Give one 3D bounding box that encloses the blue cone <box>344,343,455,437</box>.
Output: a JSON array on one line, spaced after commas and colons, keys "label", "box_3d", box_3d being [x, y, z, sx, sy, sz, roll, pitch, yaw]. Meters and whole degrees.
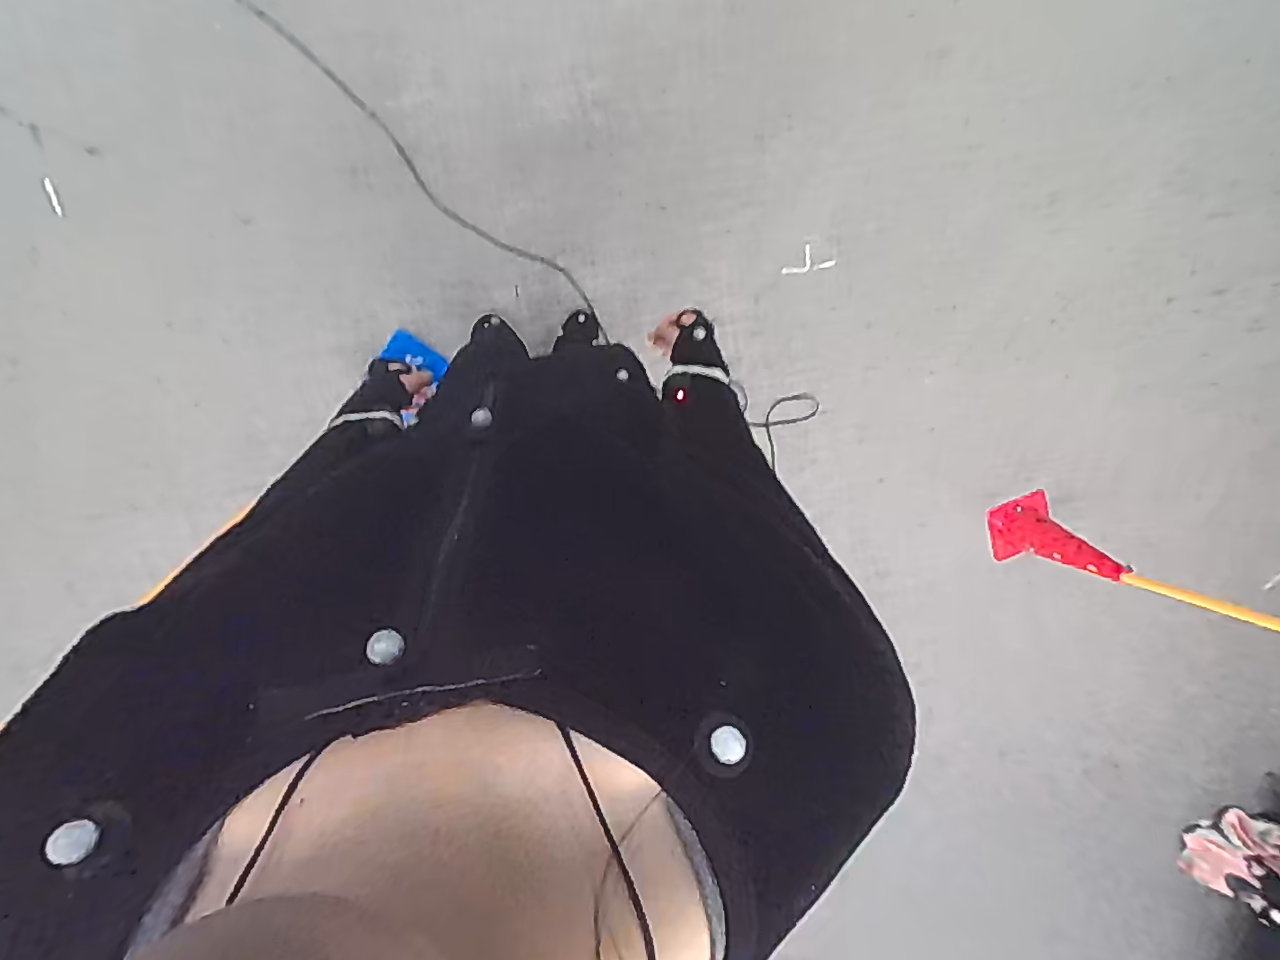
[{"label": "blue cone", "box_3d": [-0.565, -0.167, 1.220, 0.192, 0.380, 0.193, 34, 103, -17]}]
